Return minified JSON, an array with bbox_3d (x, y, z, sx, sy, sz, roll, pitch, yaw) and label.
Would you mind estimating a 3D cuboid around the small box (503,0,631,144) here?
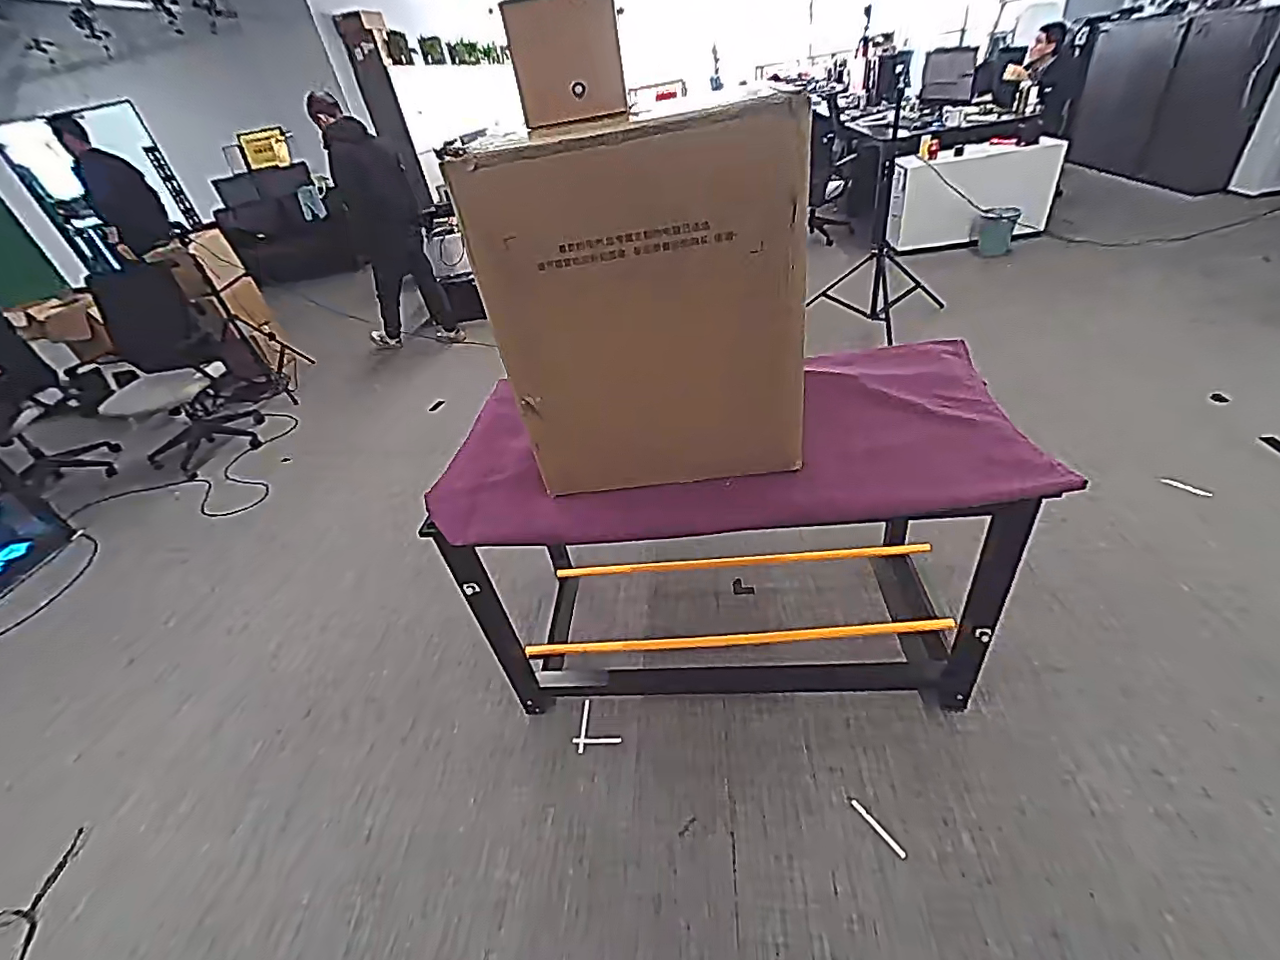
[{"bbox_3d":[-0.115,-0.696,0.926,0.179,0.176,0.168,-6,37,5],"label":"small box"}]
